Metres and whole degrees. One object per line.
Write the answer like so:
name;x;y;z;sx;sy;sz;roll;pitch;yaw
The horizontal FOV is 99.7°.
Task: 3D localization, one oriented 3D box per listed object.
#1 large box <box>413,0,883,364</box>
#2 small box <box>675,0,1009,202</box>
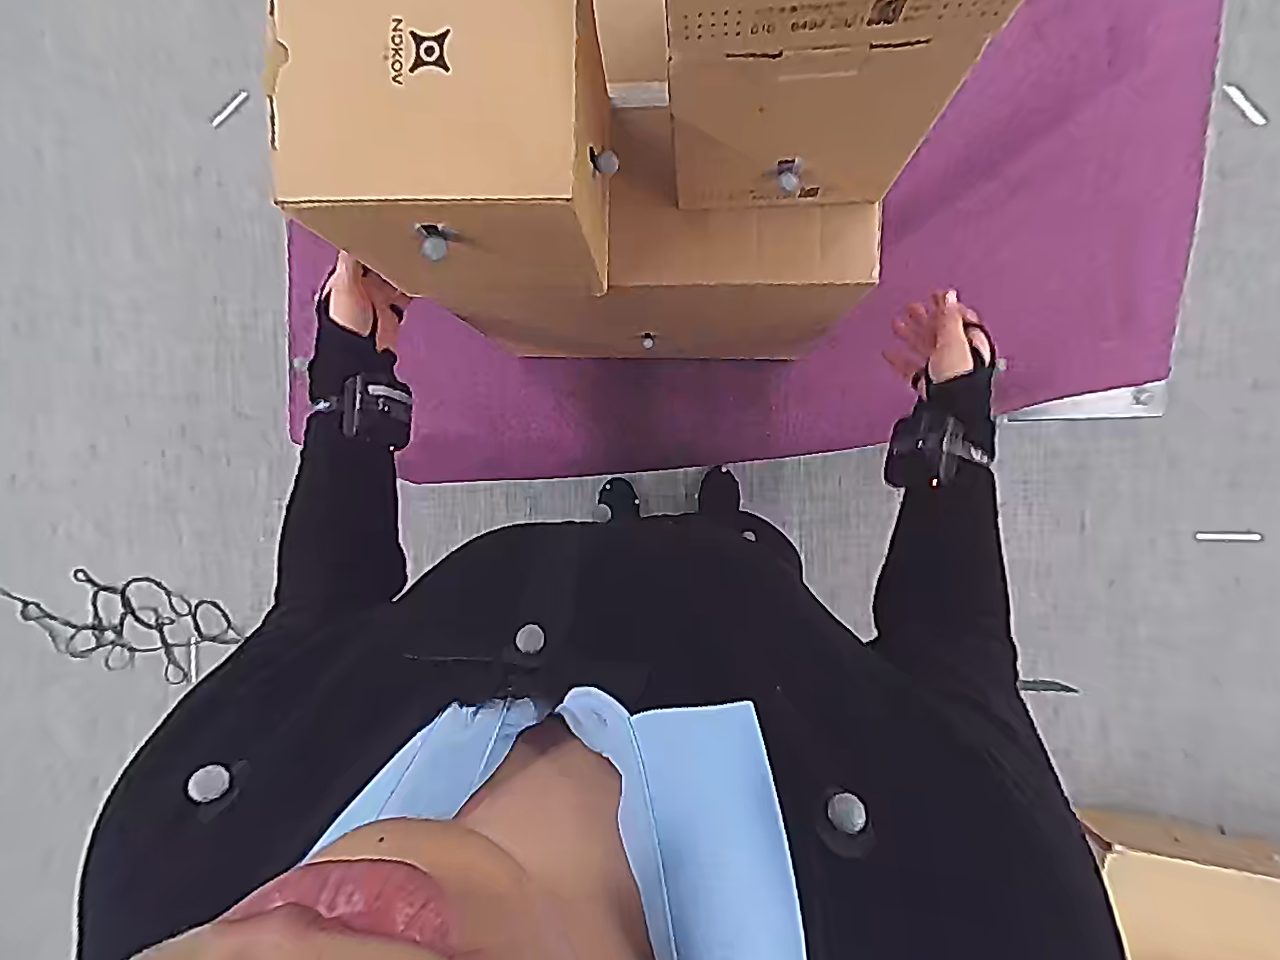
large box;0.014;-0.316;0.605;0.408;0.320;0.320;0;89;5
small box;0.108;-0.310;0.351;0.168;0.176;0.179;0;91;6
